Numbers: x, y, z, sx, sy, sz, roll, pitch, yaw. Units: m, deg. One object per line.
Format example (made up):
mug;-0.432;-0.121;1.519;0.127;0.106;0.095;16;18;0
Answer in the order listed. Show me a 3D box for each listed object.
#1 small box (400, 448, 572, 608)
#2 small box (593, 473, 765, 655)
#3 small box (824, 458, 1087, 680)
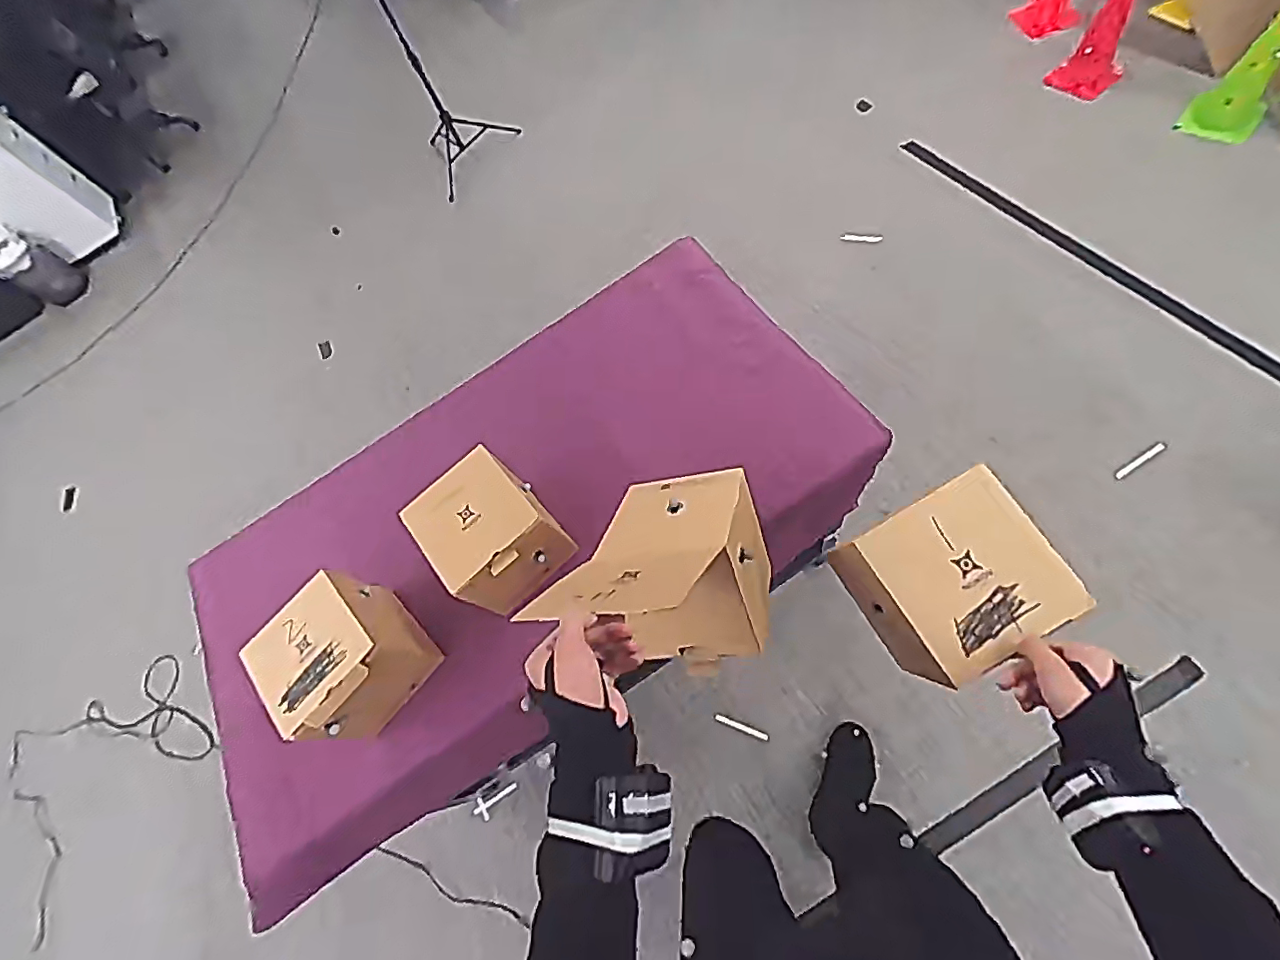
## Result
small box;-0.235;0.087;0.865;0.168;0.176;0.179;-42;63;-6
small box;0.063;0.103;0.710;0.168;0.179;0.176;-9;29;23
small box;0.343;0.104;0.632;0.168;0.176;0.179;-32;74;0
